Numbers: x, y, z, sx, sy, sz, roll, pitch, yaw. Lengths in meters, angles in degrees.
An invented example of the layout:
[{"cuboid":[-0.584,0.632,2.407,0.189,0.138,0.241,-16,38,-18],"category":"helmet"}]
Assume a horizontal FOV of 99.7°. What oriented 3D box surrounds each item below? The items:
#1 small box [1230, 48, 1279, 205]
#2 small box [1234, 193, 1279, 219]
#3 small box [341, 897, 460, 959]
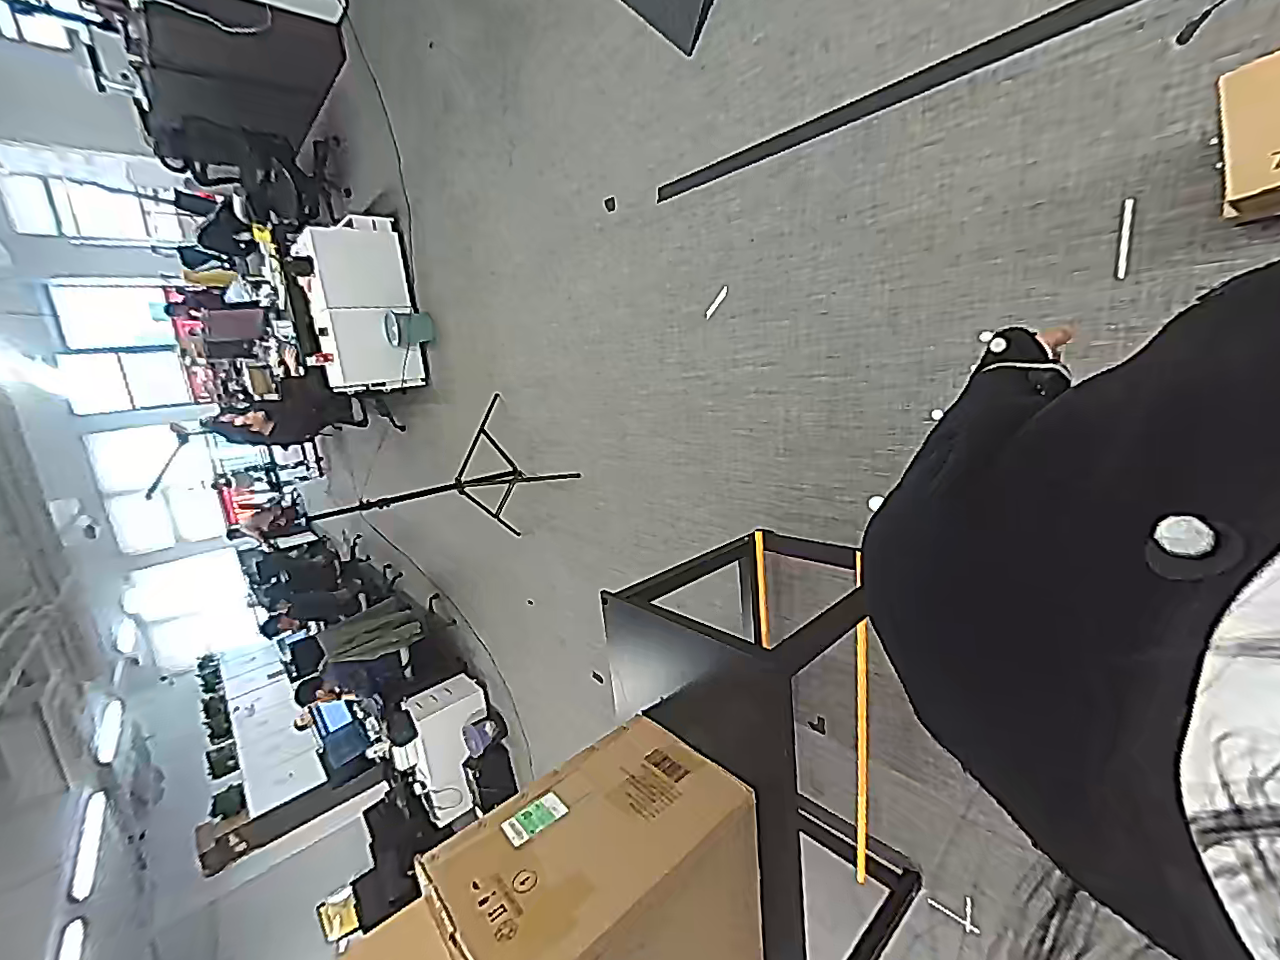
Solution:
[{"cuboid":[0.942,-0.504,0.743,0.168,0.176,0.179,-2,101,52],"category":"small box"},{"cuboid":[1.066,-0.528,0.850,0.168,0.176,0.179,5,108,51],"category":"small box"},{"cuboid":[-0.431,0.947,1.009,0.179,0.176,0.168,15,115,49],"category":"small box"}]
